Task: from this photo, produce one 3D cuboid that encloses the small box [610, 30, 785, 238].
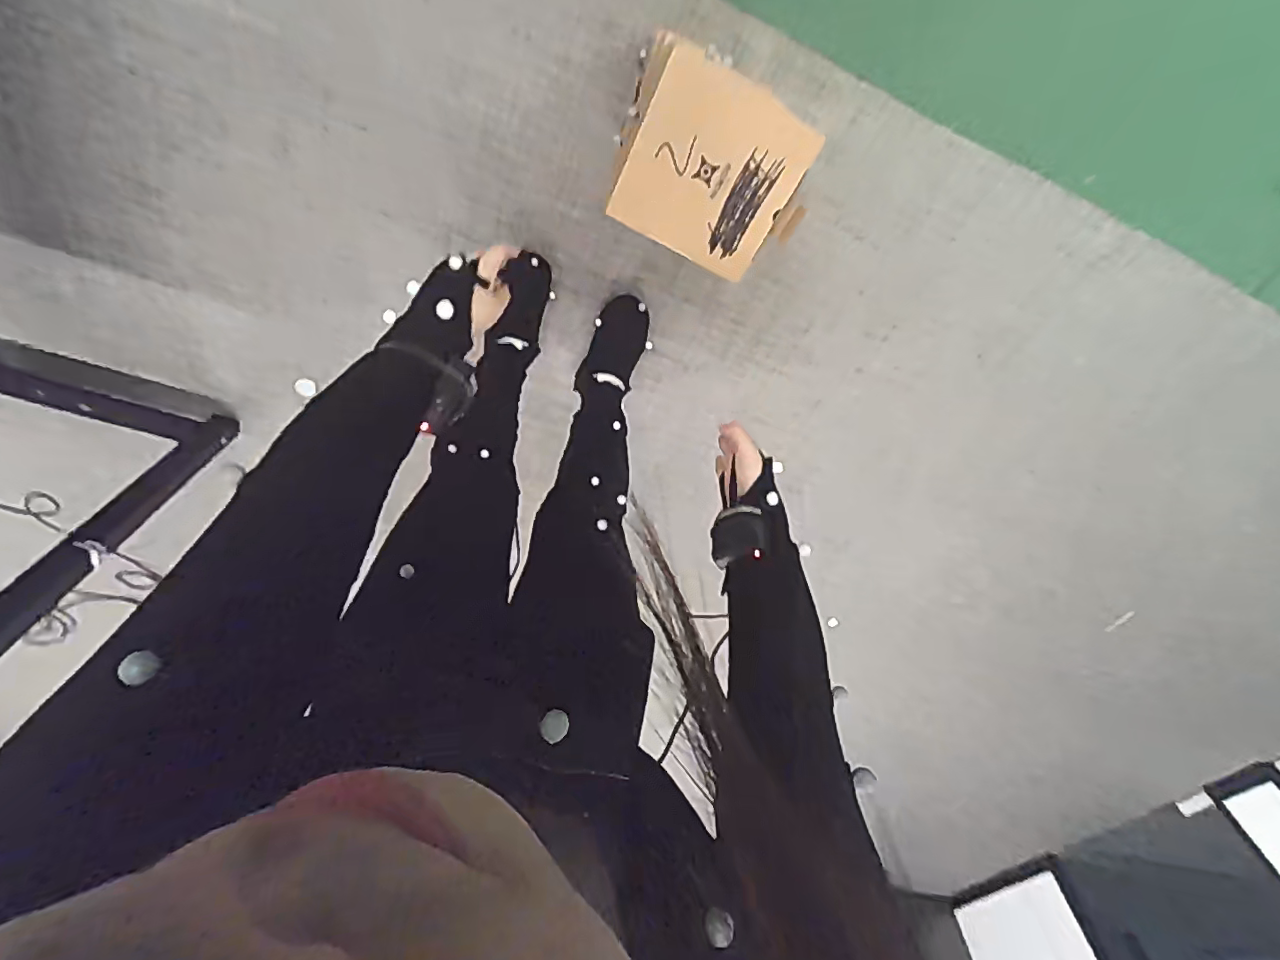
[{"bbox_3d":[0.068,-0.468,0.739,0.168,0.176,0.179,19,125,-16],"label":"small box"}]
